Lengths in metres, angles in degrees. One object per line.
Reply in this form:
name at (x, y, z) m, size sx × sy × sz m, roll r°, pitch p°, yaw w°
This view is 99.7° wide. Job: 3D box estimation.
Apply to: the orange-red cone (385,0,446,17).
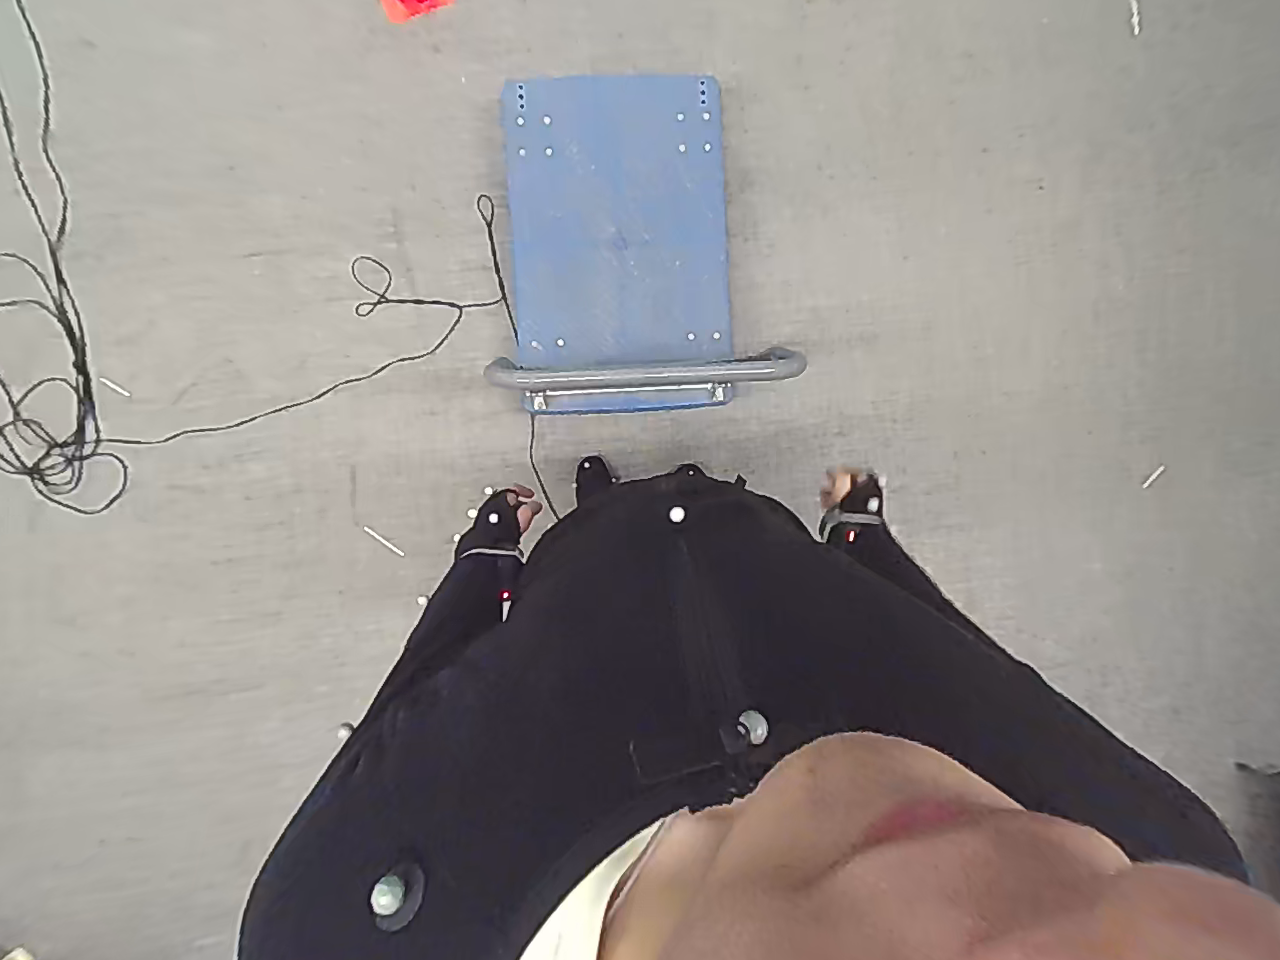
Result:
orange-red cone at (-0.648, -1.432, 1.370) m, size 0.199 × 0.360 × 0.198 m, roll -21°, pitch 92°, yaw 0°
